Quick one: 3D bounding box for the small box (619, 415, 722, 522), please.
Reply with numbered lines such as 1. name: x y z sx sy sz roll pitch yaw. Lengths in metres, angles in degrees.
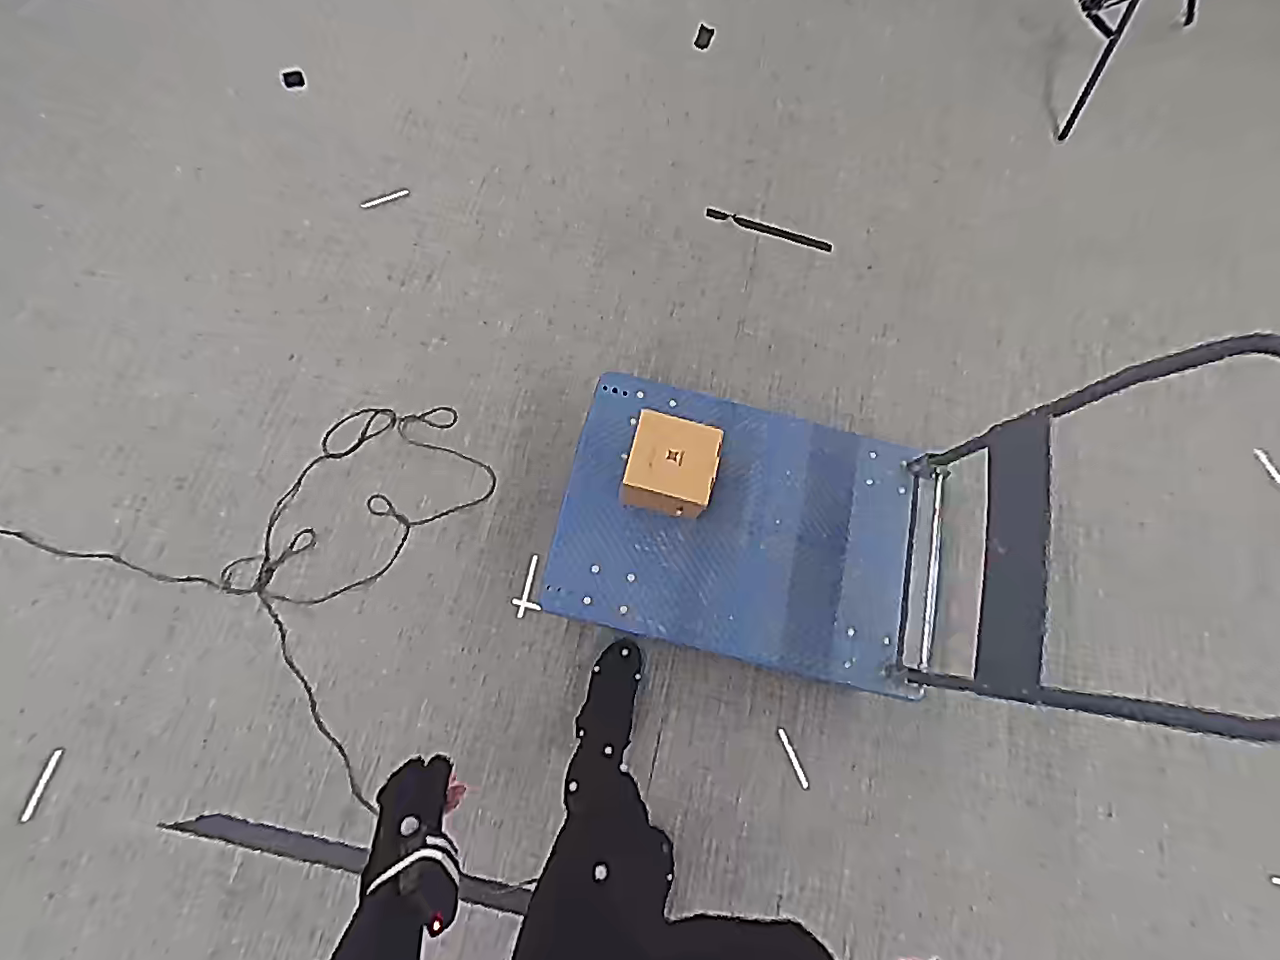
1. small box: 0.060 -0.015 1.161 0.179 0.176 0.168 14 73 -1
